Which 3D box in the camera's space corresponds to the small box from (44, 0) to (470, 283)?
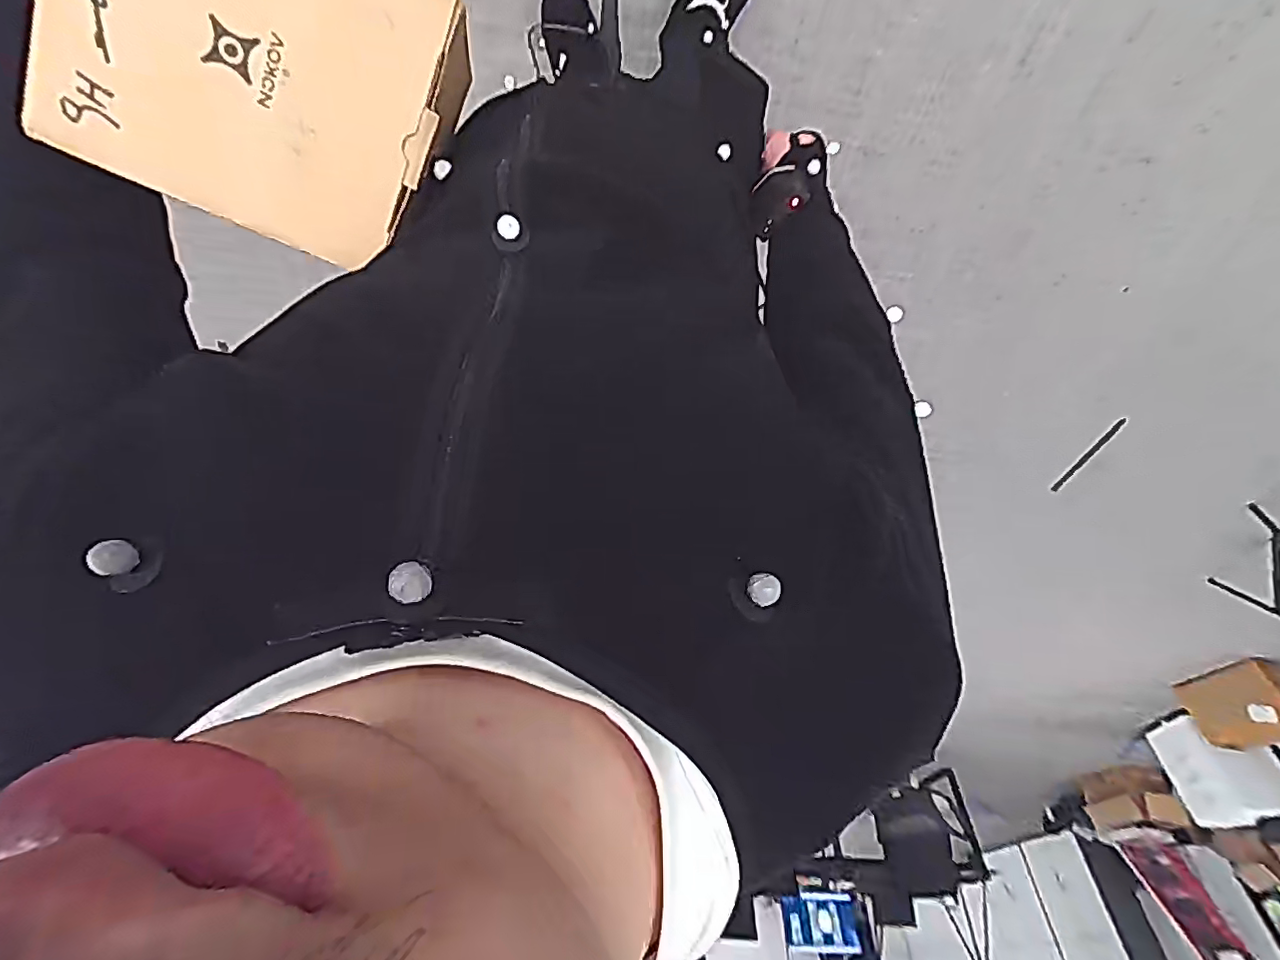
[{"bbox_3d":[-0.227,-0.256,0.367,0.179,0.176,0.168,19,106,-23],"label":"small box"}]
